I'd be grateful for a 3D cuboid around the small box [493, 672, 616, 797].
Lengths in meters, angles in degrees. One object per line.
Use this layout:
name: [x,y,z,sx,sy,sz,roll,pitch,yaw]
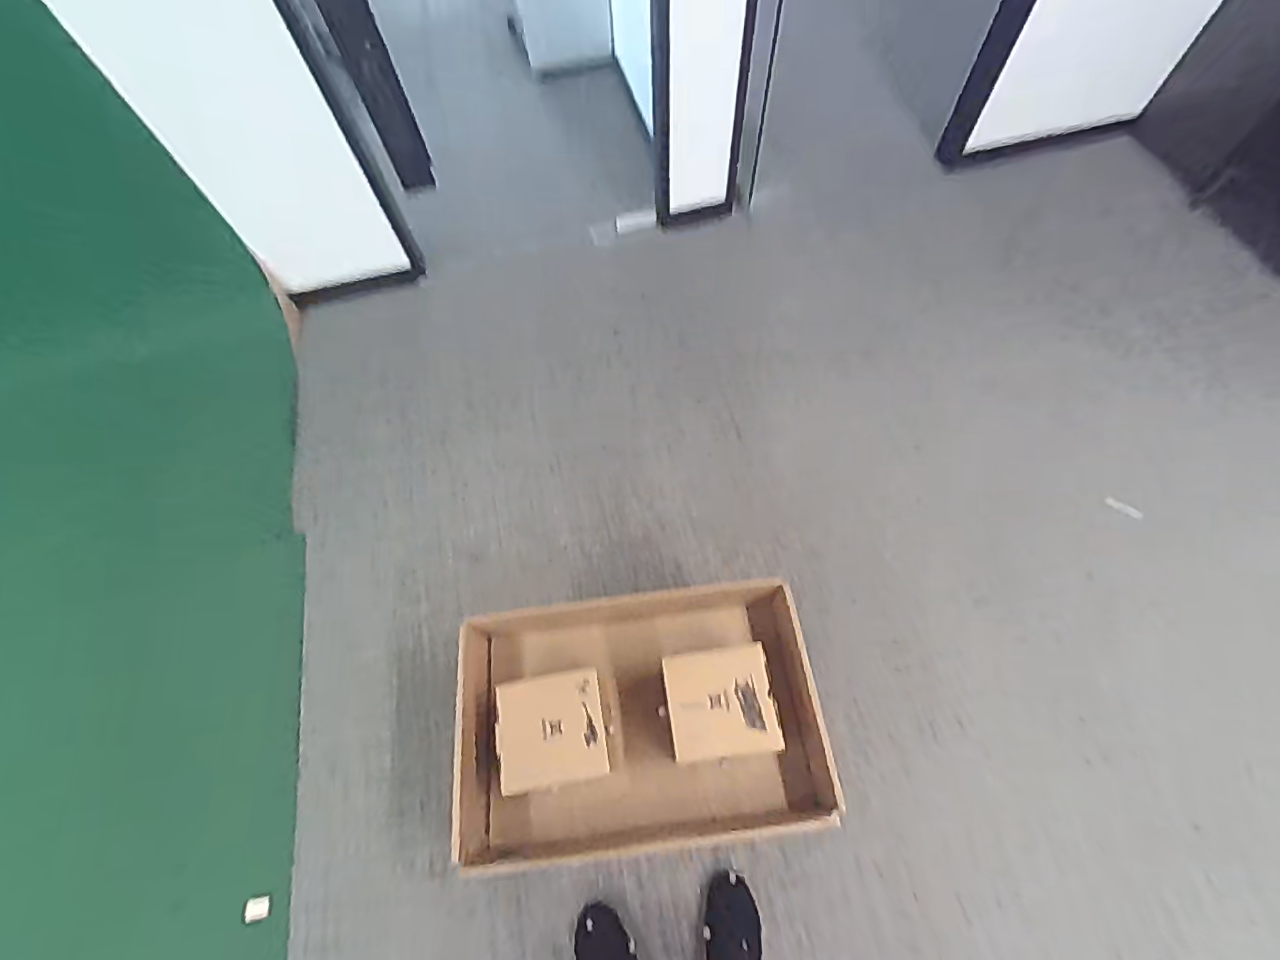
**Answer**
small box: [-0.144,0.444,0.941,0.179,0.176,0.168,-10,62,-2]
